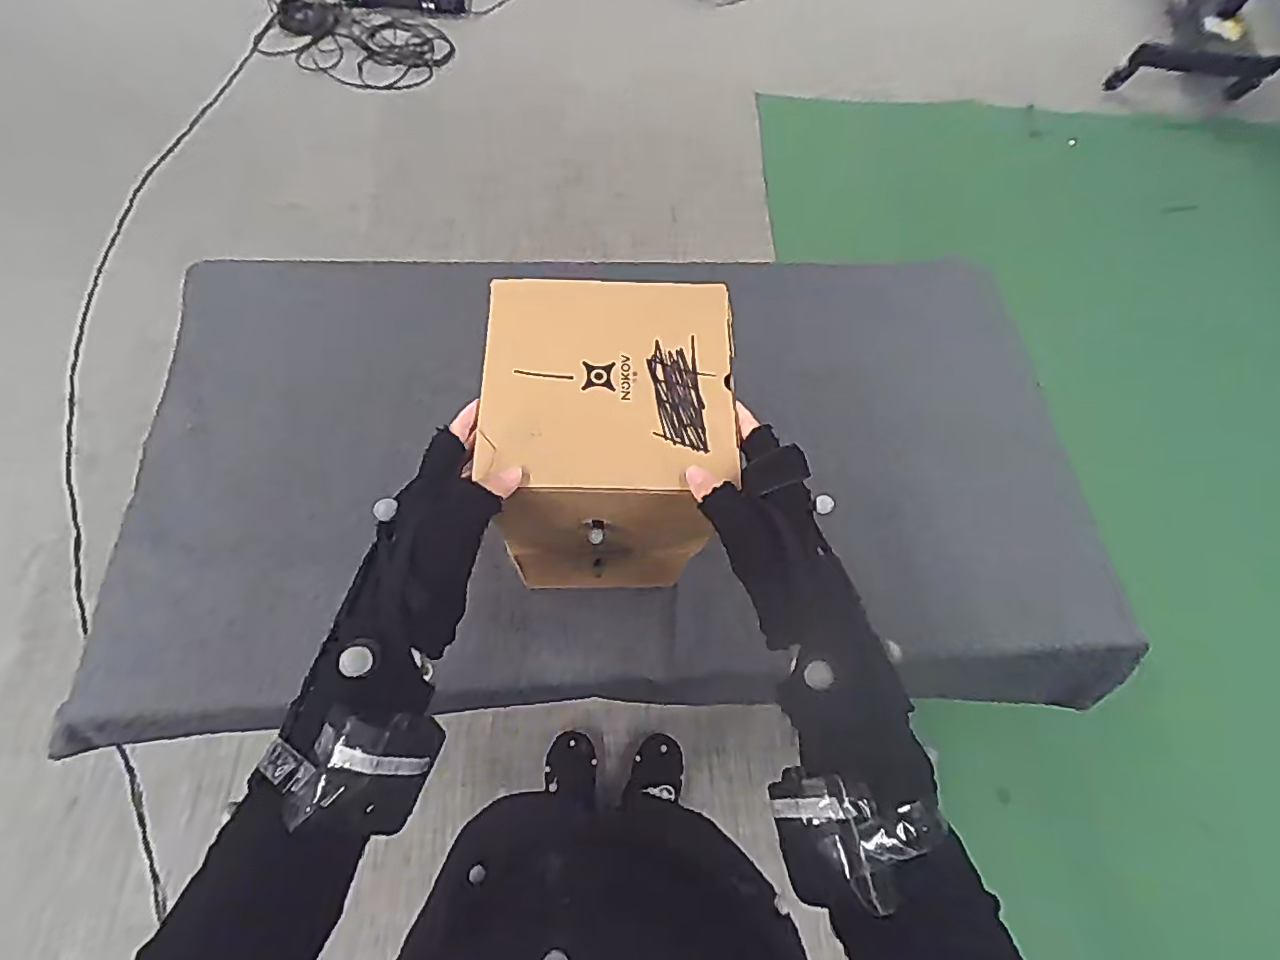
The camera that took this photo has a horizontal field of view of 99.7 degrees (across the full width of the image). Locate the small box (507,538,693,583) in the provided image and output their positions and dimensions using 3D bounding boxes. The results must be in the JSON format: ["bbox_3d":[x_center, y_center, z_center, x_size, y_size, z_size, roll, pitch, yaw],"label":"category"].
[{"bbox_3d":[-0.044,0.018,0.602,0.179,0.176,0.168,-1,69,-5],"label":"small box"}]

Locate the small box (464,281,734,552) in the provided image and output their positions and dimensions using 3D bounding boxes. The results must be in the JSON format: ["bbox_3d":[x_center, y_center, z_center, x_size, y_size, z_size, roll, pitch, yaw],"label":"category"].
[{"bbox_3d":[-0.030,-0.040,0.447,0.179,0.176,0.168,-1,69,-3],"label":"small box"}]
